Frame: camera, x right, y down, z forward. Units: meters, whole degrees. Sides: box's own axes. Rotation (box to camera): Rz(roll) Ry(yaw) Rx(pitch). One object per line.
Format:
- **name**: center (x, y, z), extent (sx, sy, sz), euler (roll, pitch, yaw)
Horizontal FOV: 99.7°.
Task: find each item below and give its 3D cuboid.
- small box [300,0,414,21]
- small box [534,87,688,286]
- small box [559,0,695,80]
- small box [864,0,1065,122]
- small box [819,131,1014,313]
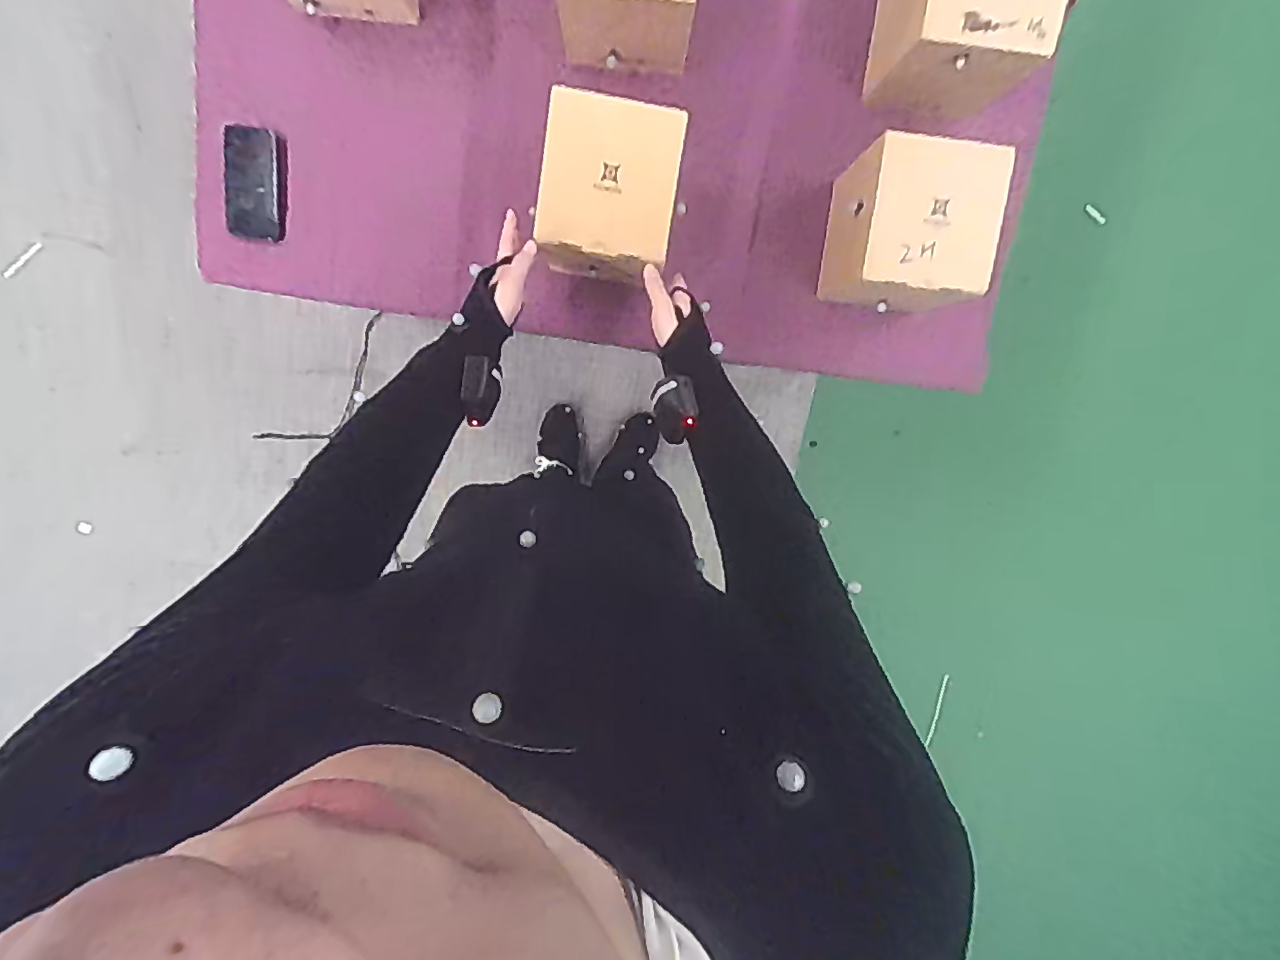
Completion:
- **small box**: center (-0.380, -0.703, 0.649), extent (0.168, 0.176, 0.179), euler (4, 100, -3)
- **small box**: center (-0.040, -0.376, 0.728), extent (0.168, 0.176, 0.179), euler (9, 100, -4)
- **small box**: center (-0.014, -0.649, 0.676), extent (0.168, 0.176, 0.179), euler (4, 102, -2)
- **small box**: center (0.413, -0.606, 0.699), extent (0.168, 0.176, 0.179), euler (6, 101, -2)
- **small box**: center (0.363, -0.340, 0.746), extent (0.168, 0.176, 0.179), euler (6, 100, -2)
